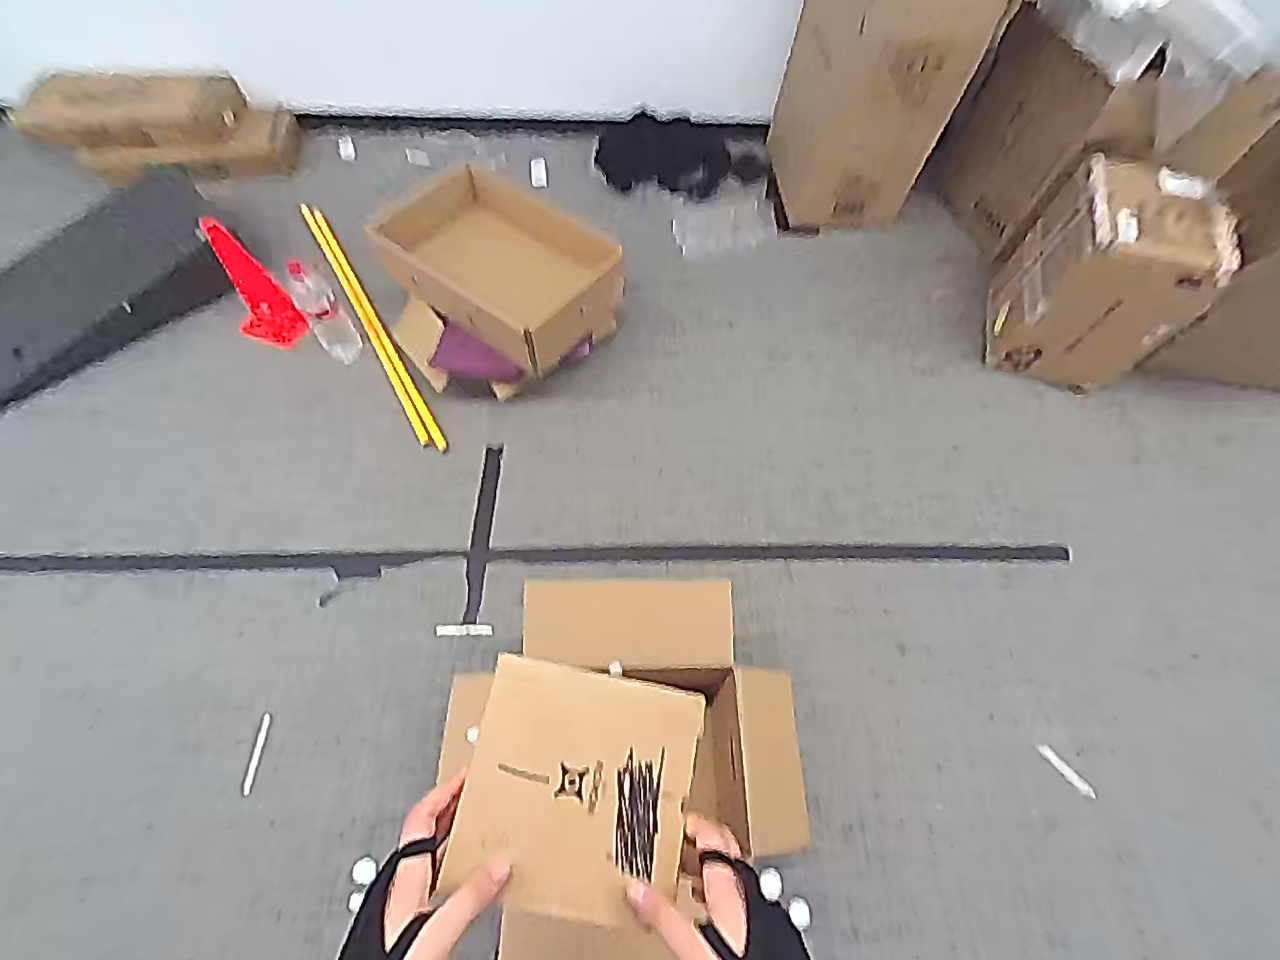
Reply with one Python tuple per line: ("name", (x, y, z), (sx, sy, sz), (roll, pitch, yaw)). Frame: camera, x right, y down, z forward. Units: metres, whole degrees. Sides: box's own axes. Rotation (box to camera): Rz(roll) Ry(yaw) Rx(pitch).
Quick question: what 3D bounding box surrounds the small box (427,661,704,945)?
("small box", (-0.060, 0.263, 0.481), (0.179, 0.176, 0.168), (15, 69, -4))
